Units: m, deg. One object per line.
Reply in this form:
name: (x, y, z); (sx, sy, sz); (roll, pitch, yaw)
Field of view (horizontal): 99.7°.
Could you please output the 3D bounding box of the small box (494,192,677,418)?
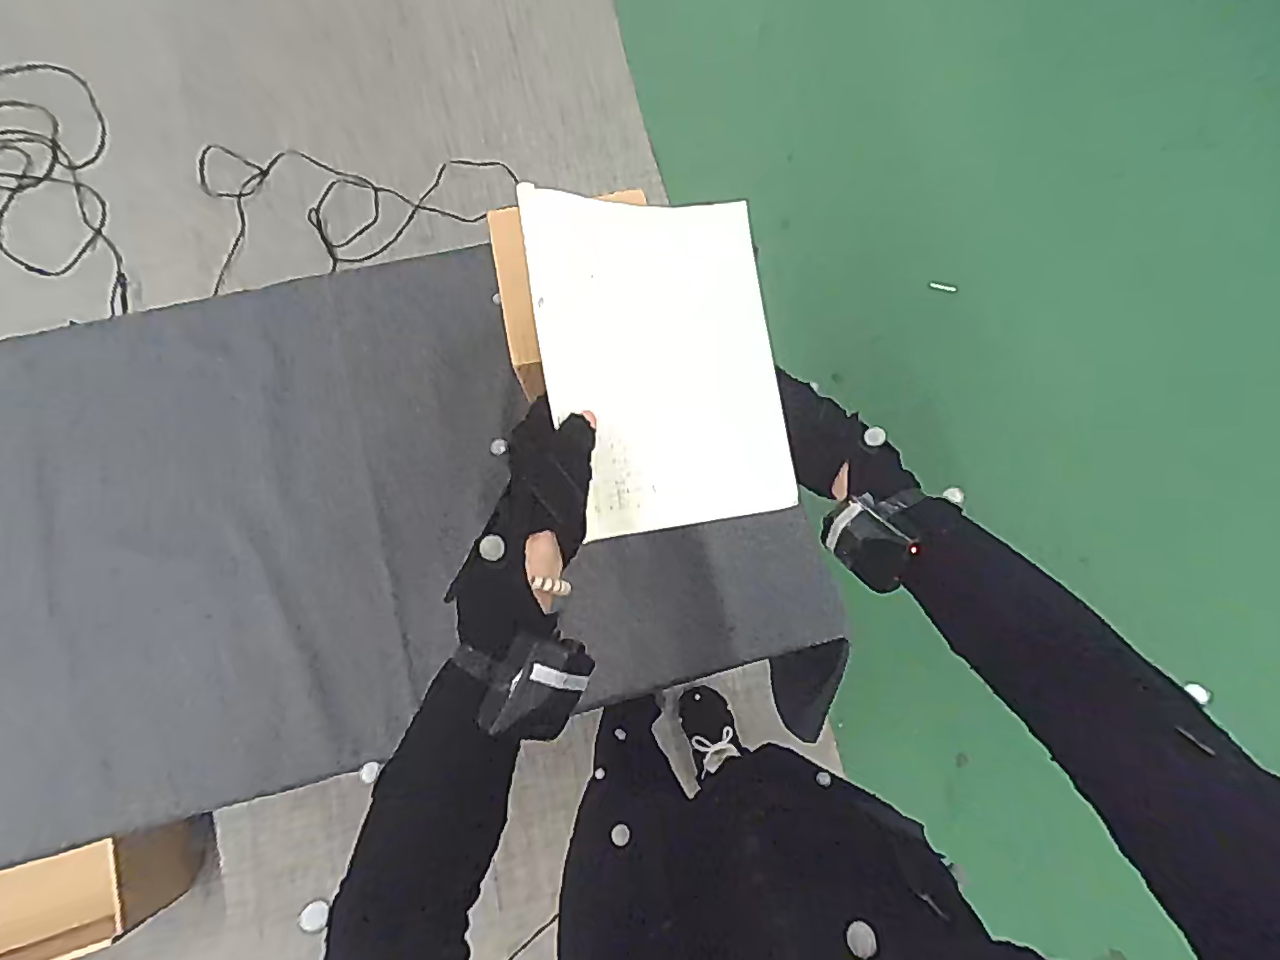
small box: (-0.060, -0.189, 0.623); (0.168, 0.176, 0.179); (-11, 78, -3)
